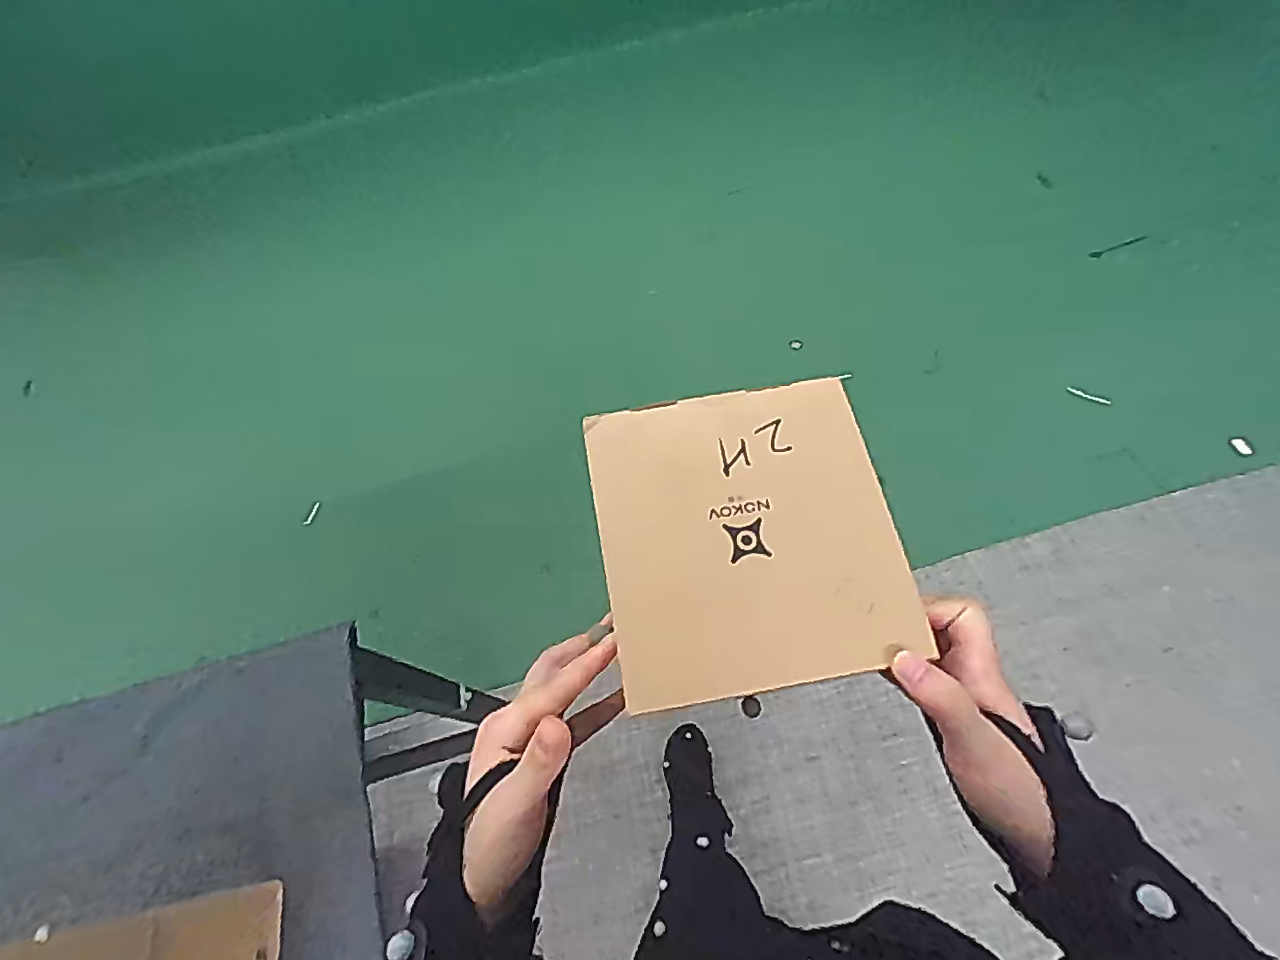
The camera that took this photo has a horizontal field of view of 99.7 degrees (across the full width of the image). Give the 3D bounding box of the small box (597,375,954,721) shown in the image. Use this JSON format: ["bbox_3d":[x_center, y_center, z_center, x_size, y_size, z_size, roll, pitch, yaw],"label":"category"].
[{"bbox_3d":[0.068,0.055,0.374,0.168,0.176,0.179,-9,68,-3],"label":"small box"}]

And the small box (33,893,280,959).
[{"bbox_3d":[-0.460,0.500,0.481,0.179,0.176,0.168,-17,60,-1],"label":"small box"}]
